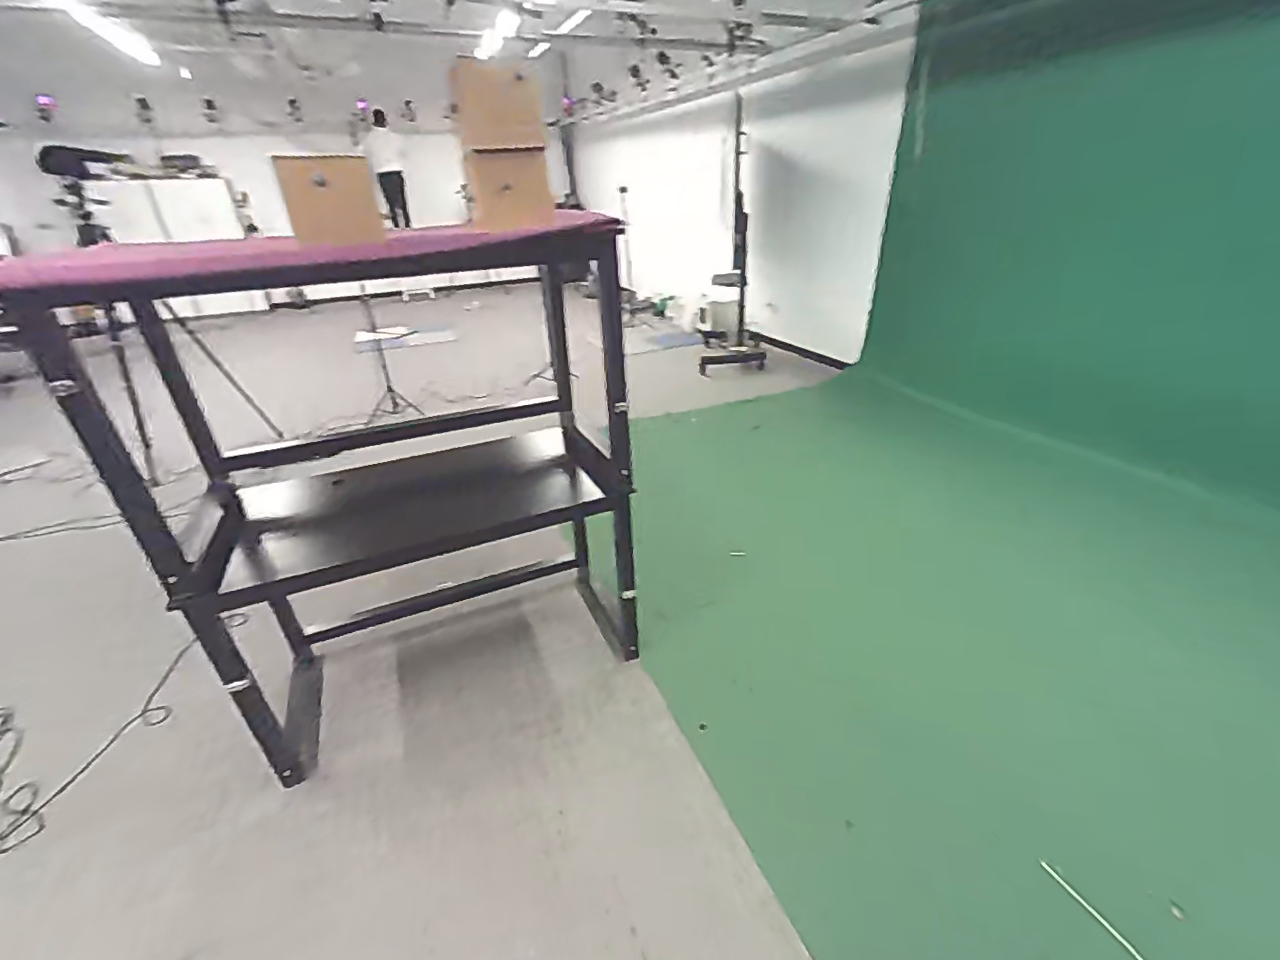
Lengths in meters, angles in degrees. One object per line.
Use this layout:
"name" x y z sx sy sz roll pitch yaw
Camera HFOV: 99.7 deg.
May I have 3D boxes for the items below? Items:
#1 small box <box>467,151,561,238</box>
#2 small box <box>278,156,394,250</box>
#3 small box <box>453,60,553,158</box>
"small box" -0.305 -0.686 1.311 0.179 0.176 0.168 -15 29 -19
"small box" -0.648 -0.597 1.174 0.179 0.176 0.168 -12 30 -19
"small box" -0.311 -0.827 1.227 0.179 0.176 0.168 -14 28 -19
